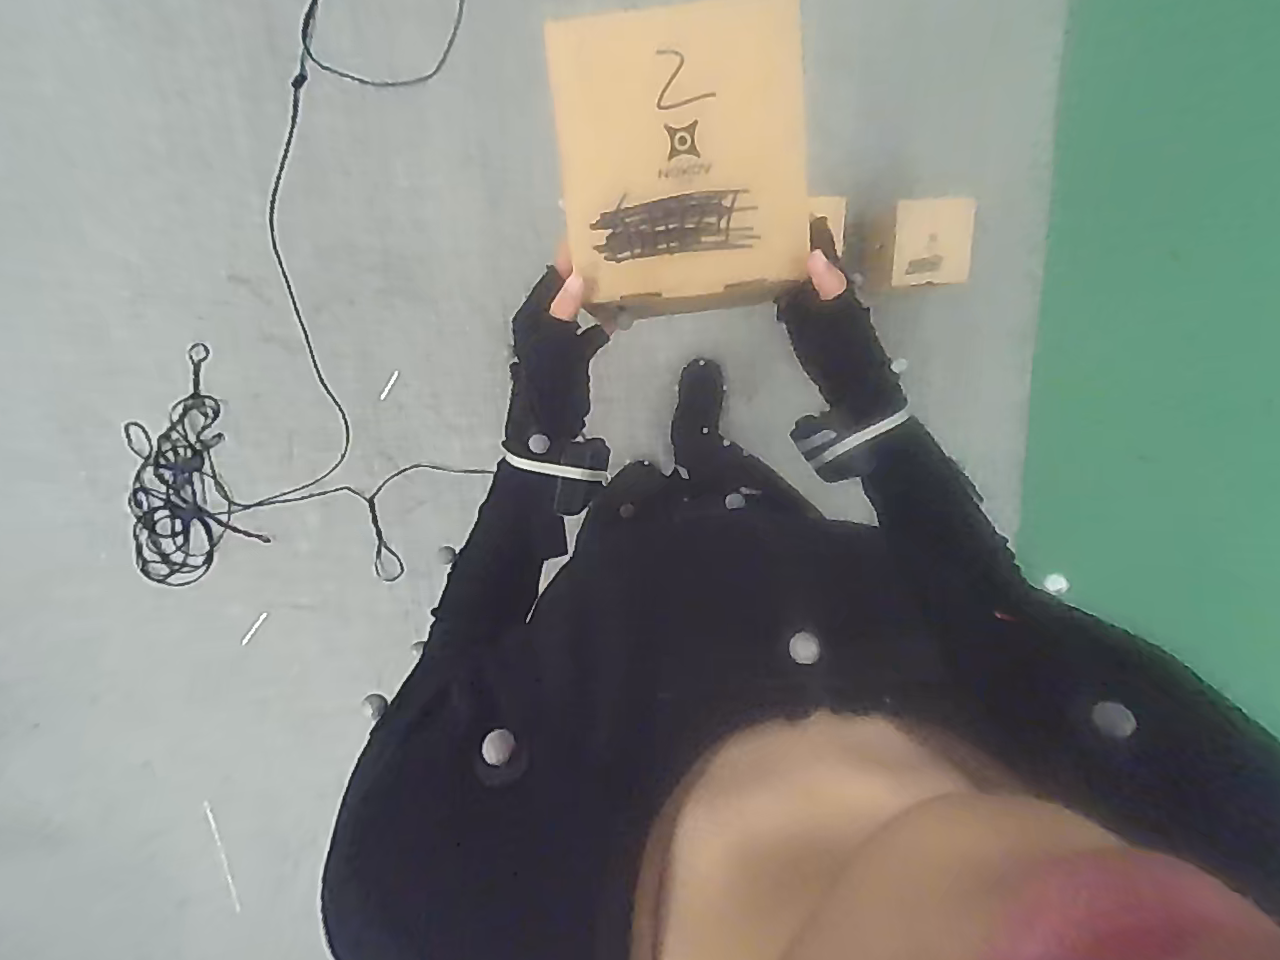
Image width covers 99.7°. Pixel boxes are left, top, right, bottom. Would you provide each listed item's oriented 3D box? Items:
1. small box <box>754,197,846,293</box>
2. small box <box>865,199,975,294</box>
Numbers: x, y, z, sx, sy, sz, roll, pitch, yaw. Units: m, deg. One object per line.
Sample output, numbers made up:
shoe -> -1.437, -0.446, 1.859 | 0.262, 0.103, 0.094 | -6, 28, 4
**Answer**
small box -> 0.359, -0.532, 1.246 | 0.168, 0.176, 0.179 | 0, 103, 2
small box -> 0.628, -0.523, 1.234 | 0.168, 0.176, 0.179 | -1, 102, 3
